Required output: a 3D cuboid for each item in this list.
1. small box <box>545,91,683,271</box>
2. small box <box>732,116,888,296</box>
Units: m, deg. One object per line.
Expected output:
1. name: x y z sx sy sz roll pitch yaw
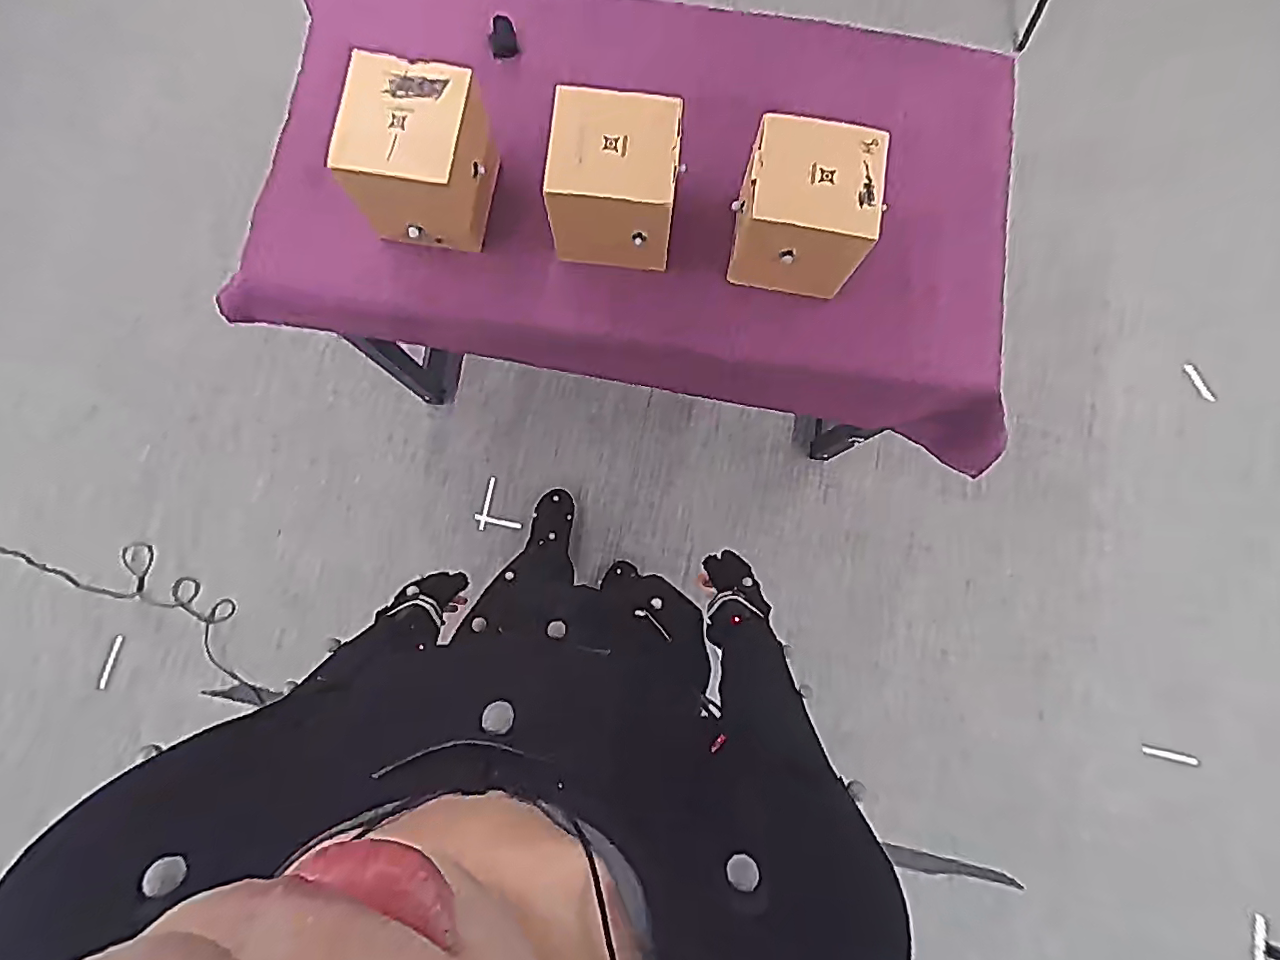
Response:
1. small box: -0.035 -0.434 0.809 0.179 0.176 0.168 4 79 0
2. small box: 0.242 -0.396 0.808 0.179 0.176 0.168 9 81 1
